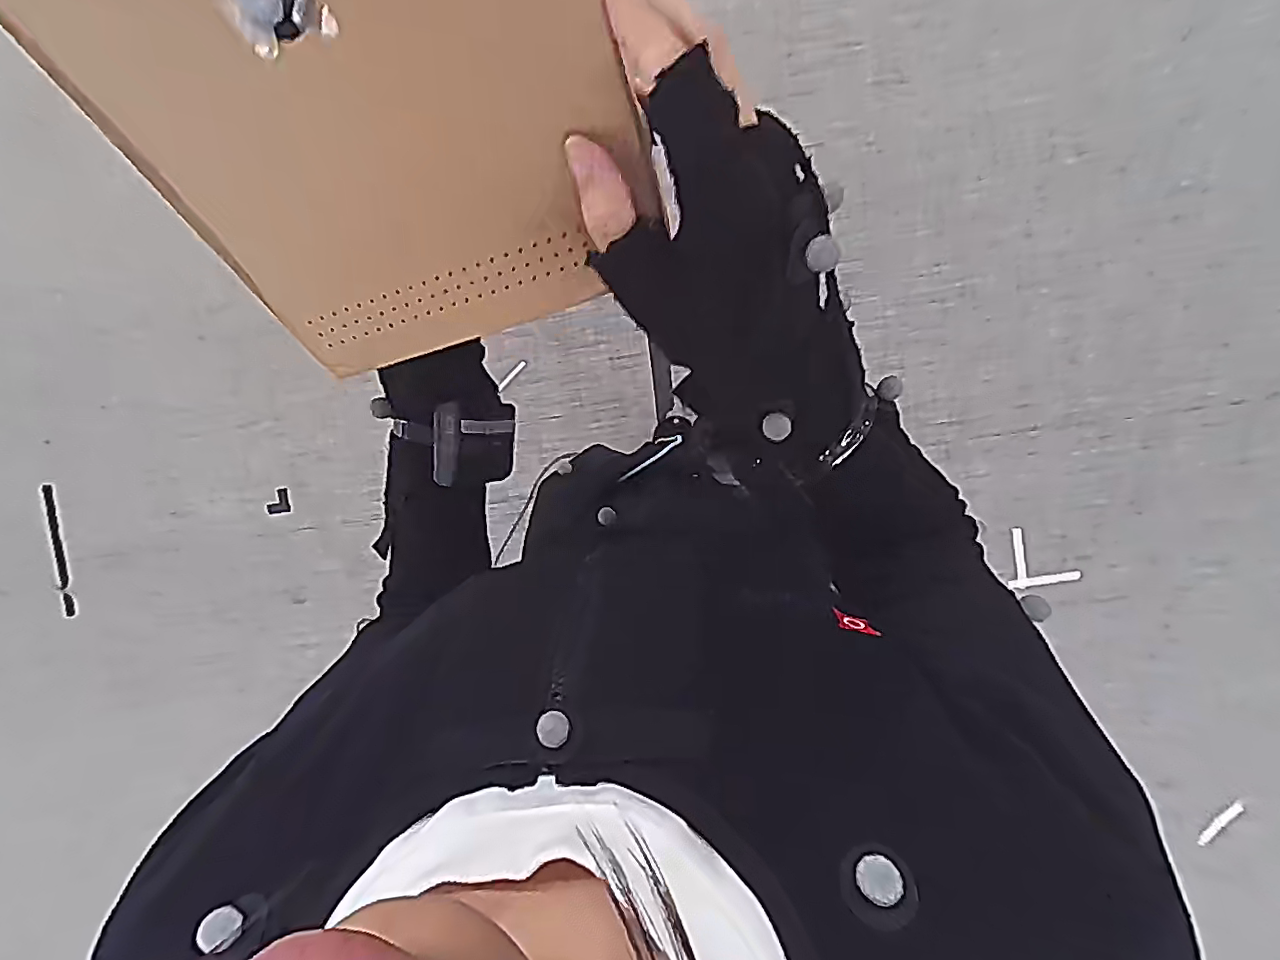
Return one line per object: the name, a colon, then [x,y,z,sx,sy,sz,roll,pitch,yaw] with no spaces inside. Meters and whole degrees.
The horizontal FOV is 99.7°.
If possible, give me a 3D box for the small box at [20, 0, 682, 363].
small box: [-0.091,-0.178,0.243,0.179,0.168,0.176,-14,139,11]
